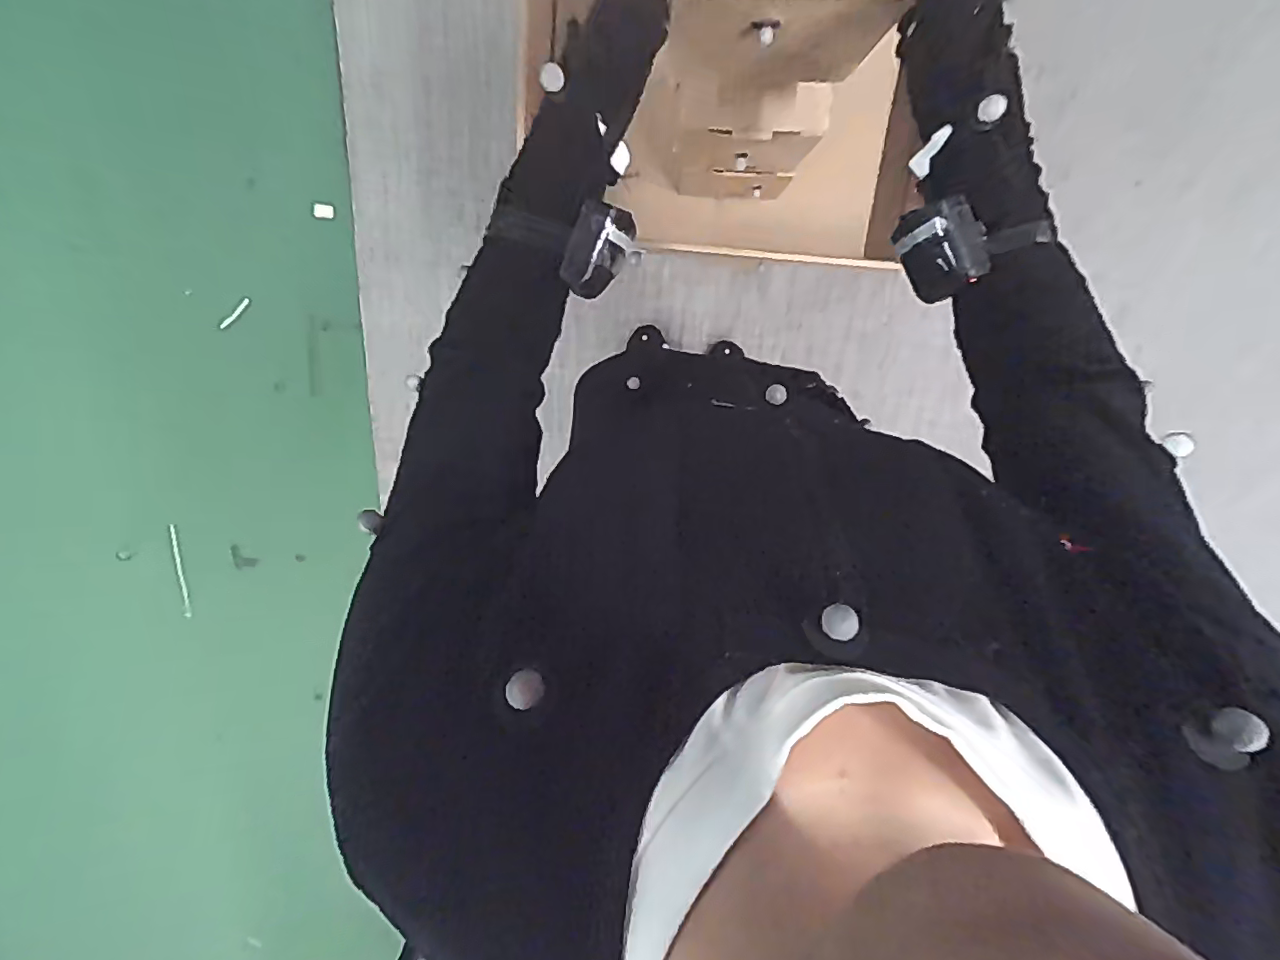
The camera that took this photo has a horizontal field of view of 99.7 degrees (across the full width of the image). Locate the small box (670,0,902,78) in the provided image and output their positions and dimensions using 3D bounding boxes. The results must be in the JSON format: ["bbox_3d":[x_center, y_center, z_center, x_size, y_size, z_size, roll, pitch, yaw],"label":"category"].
[{"bbox_3d":[0.115,-0.441,0.422,0.179,0.176,0.168,2,109,0],"label":"small box"}]

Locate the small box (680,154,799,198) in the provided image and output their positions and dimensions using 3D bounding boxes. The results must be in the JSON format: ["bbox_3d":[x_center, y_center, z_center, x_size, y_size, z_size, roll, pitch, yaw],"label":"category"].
[{"bbox_3d":[0.148,-0.535,0.808,0.168,0.176,0.179,4,106,1],"label":"small box"}]

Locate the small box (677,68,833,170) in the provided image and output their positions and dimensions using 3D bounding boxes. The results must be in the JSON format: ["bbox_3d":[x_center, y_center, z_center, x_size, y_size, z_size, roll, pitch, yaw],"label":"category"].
[{"bbox_3d":[0.133,-0.490,0.651,0.168,0.176,0.179,4,108,1],"label":"small box"}]
